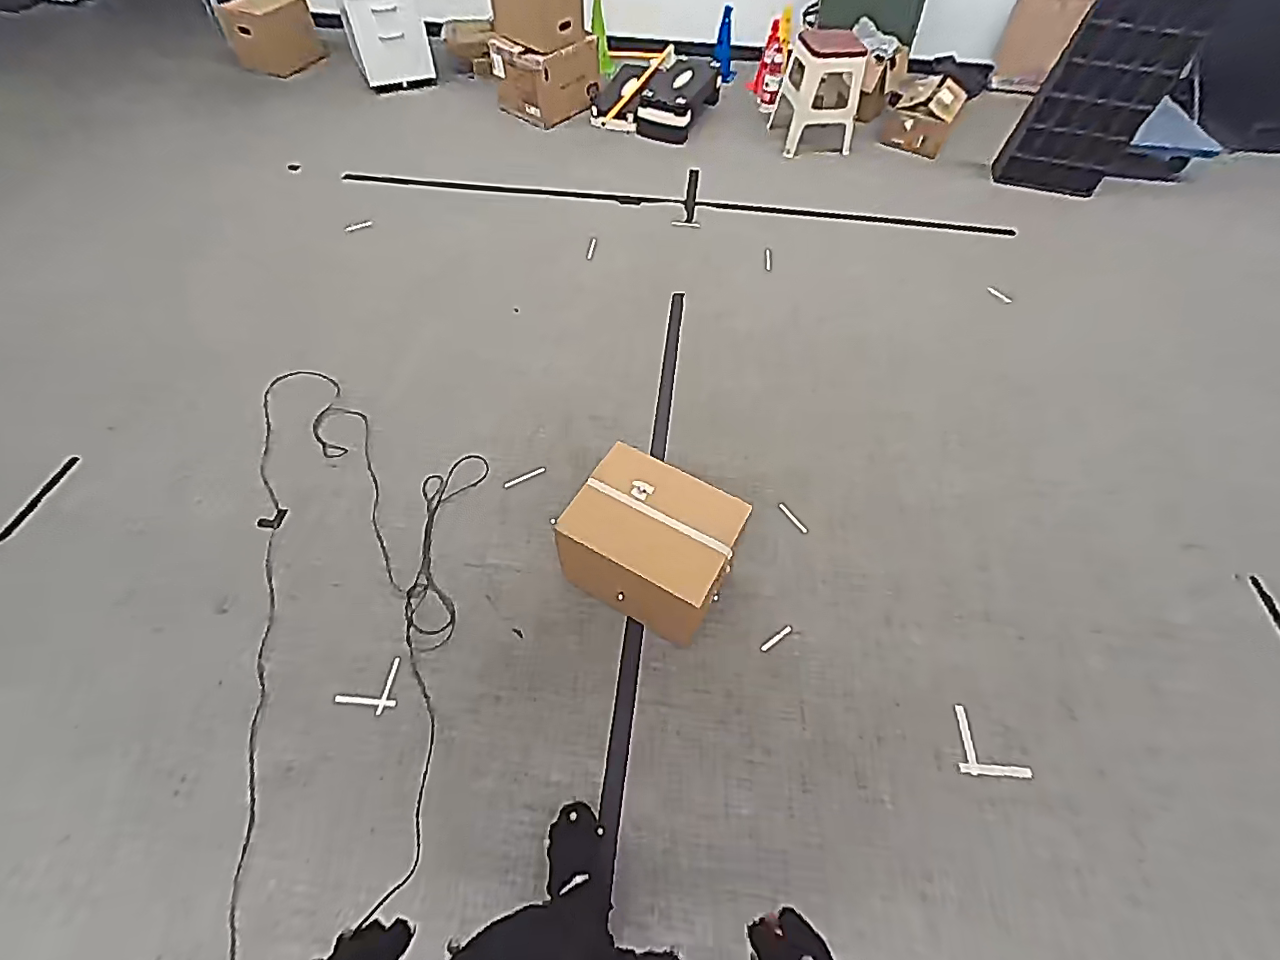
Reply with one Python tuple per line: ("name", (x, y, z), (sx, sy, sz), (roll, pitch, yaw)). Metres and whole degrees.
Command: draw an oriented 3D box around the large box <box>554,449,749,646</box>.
("large box", (0.032, 0.186, 1.469), (0.408, 0.320, 0.320), (26, 58, 15))
